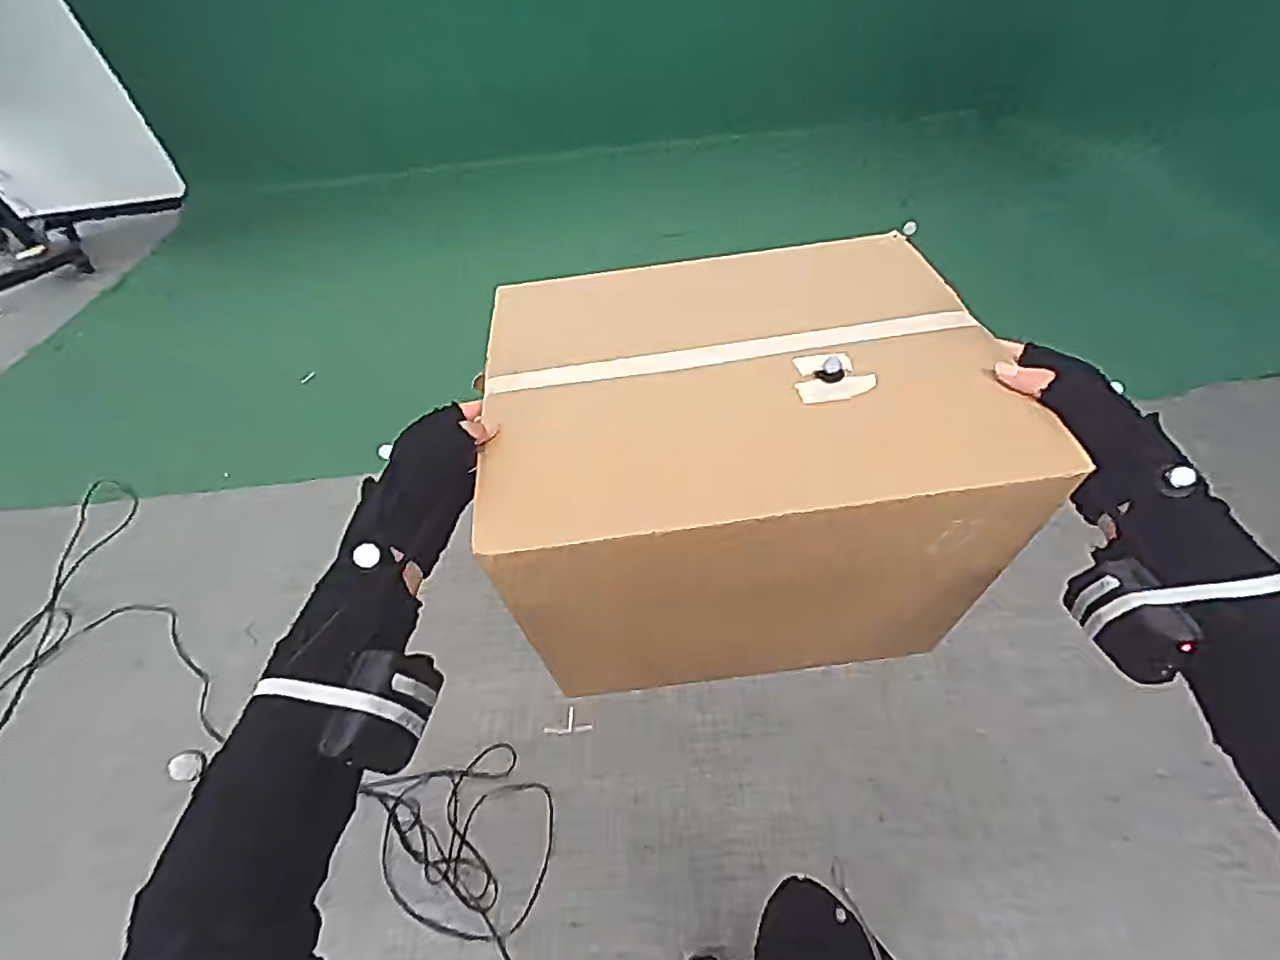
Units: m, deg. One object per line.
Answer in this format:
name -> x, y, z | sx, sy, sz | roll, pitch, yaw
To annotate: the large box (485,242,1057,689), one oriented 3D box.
large box -> 0.084, -0.005, 0.571 | 0.408, 0.320, 0.320 | -8, 52, 0
